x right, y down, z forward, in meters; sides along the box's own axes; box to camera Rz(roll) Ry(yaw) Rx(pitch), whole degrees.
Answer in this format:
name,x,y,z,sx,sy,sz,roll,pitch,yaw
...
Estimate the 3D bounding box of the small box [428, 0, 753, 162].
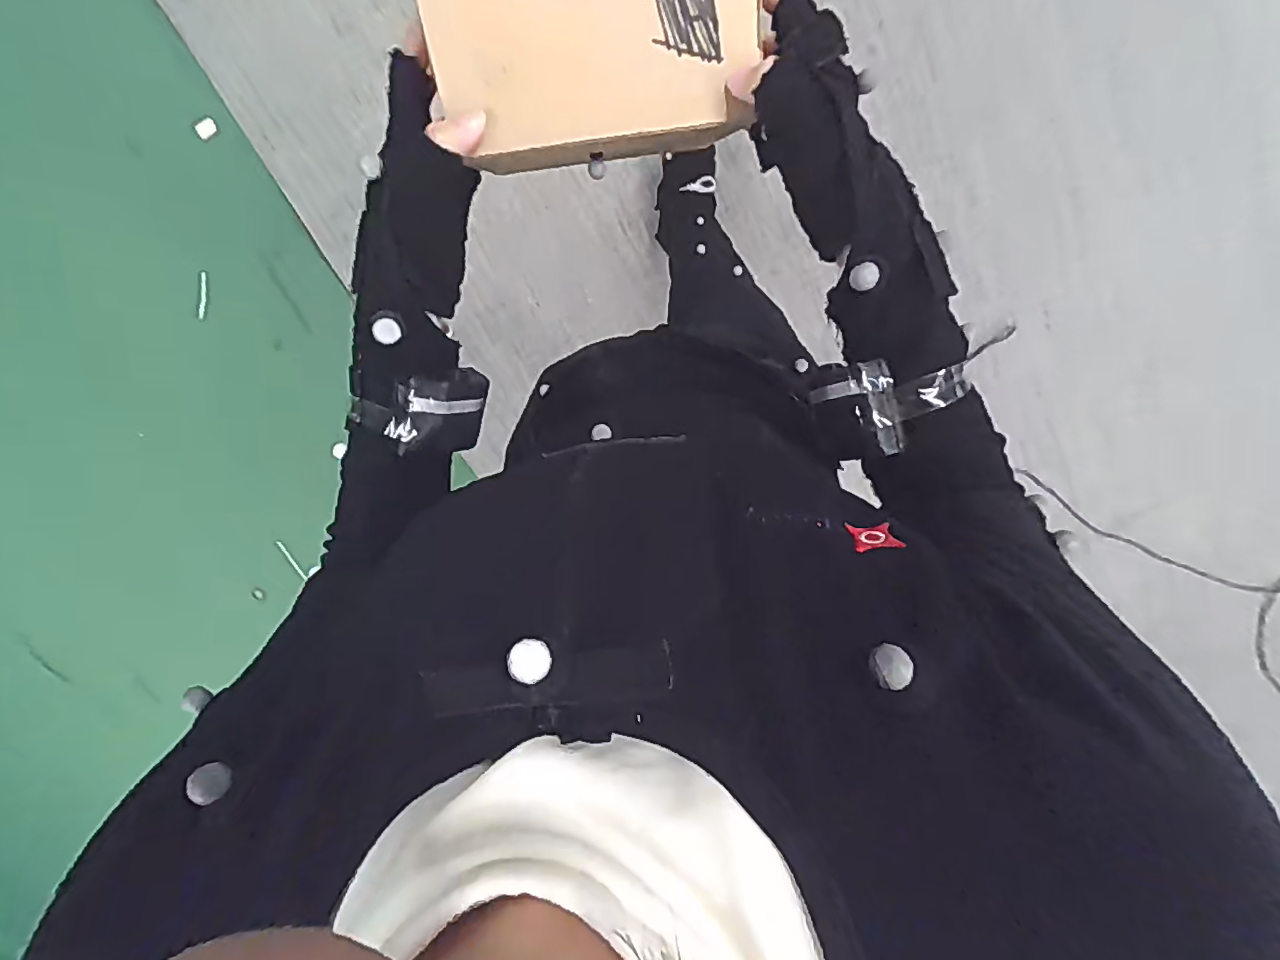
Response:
name,x,y,z,sx,sy,sz,roll,pitch,yaw
small box,-0.036,-0.315,0.350,0.179,0.176,0.168,-8,116,-1
